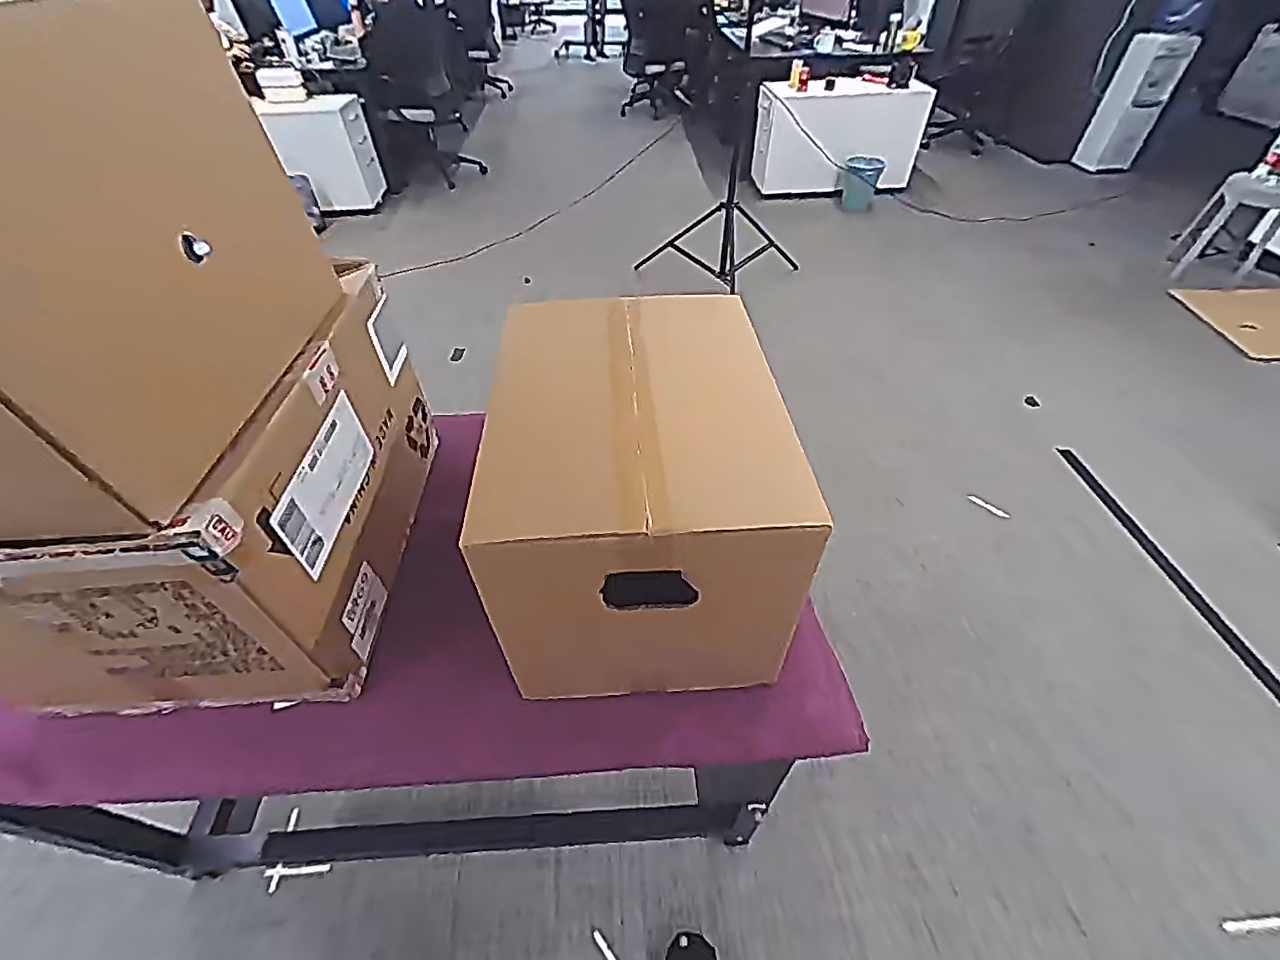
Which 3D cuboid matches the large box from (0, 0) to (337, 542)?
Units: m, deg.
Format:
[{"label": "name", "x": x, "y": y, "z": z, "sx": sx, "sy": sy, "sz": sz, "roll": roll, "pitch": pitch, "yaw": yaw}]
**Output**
[{"label": "large box", "x": -0.546, "y": -0.194, "z": 0.480, "sx": 0.320, "sy": 0.320, "sz": 0.408, "roll": -5, "pitch": 46, "yaw": 2}]
